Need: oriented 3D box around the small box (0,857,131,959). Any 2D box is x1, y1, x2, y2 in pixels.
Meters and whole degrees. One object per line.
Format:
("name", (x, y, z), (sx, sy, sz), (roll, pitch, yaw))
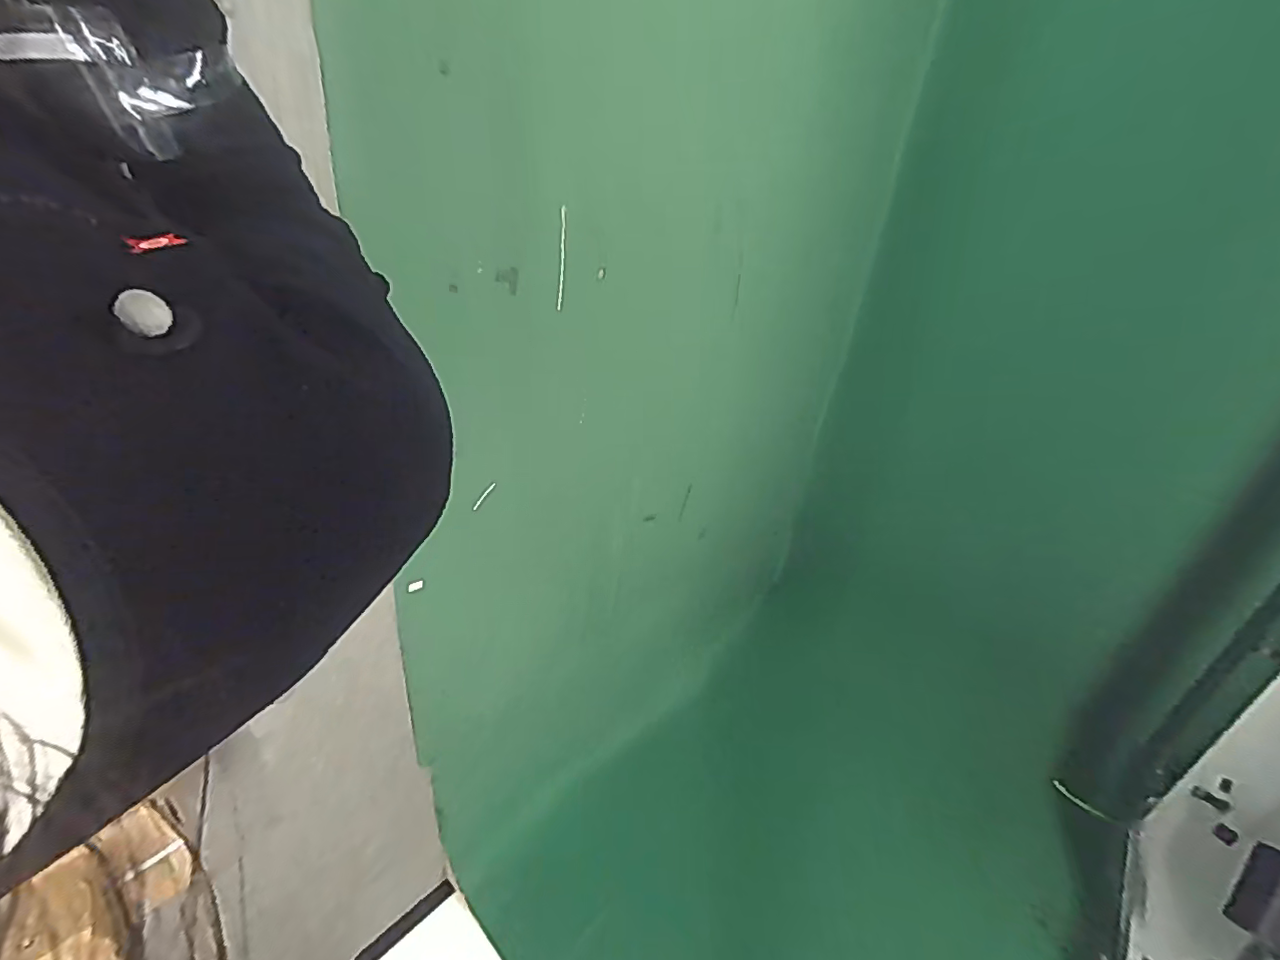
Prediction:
("small box", (-1.122, 0.874, 1.024), (0.179, 0.176, 0.168), (-25, 129, -40))
